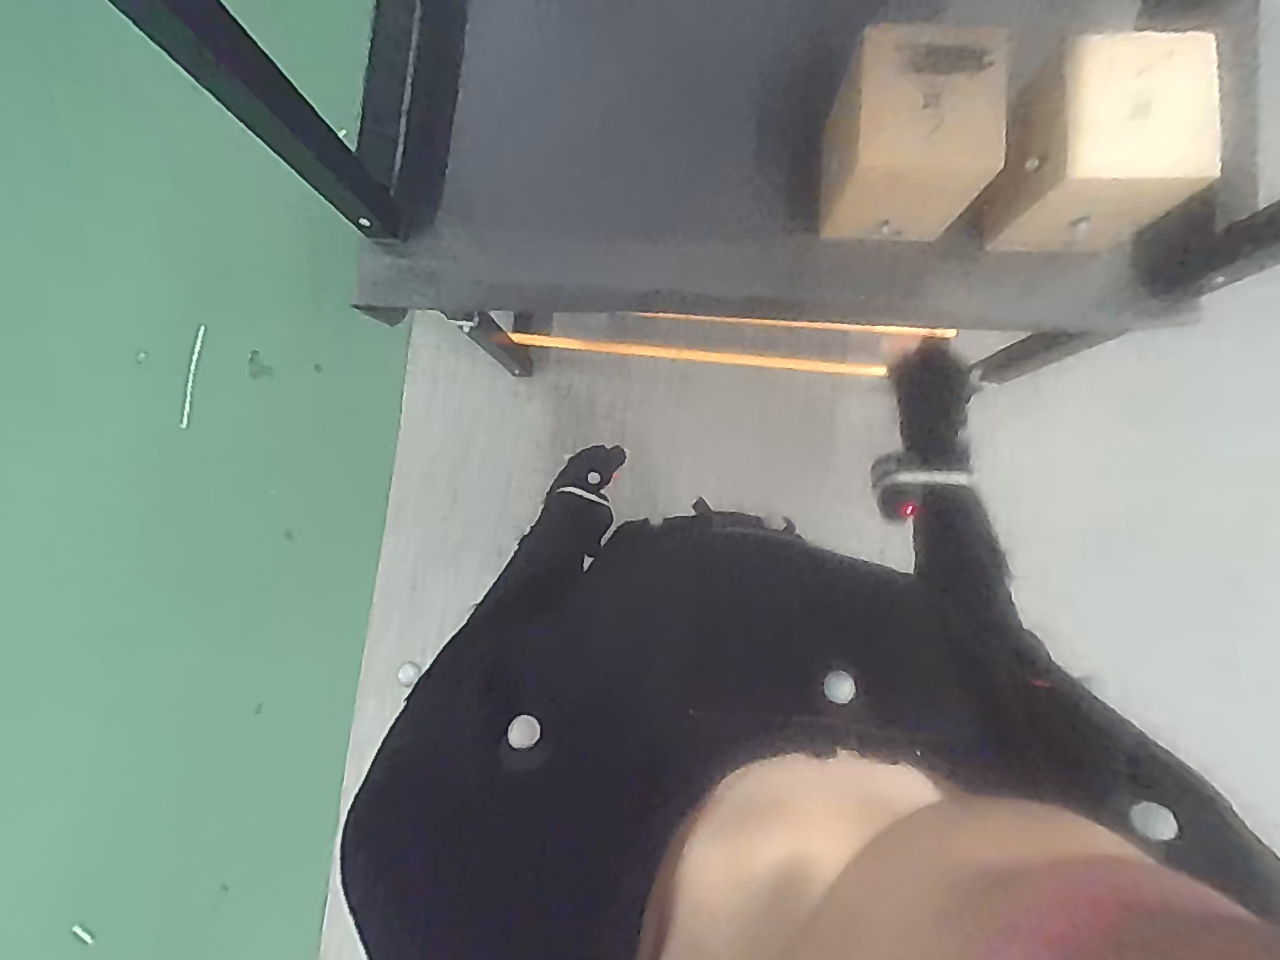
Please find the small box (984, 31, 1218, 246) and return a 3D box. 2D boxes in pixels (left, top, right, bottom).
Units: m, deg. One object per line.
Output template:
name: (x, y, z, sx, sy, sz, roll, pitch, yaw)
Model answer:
small box: (0.571, -0.420, 0.694, 0.168, 0.176, 0.179, 2, 85, 3)
